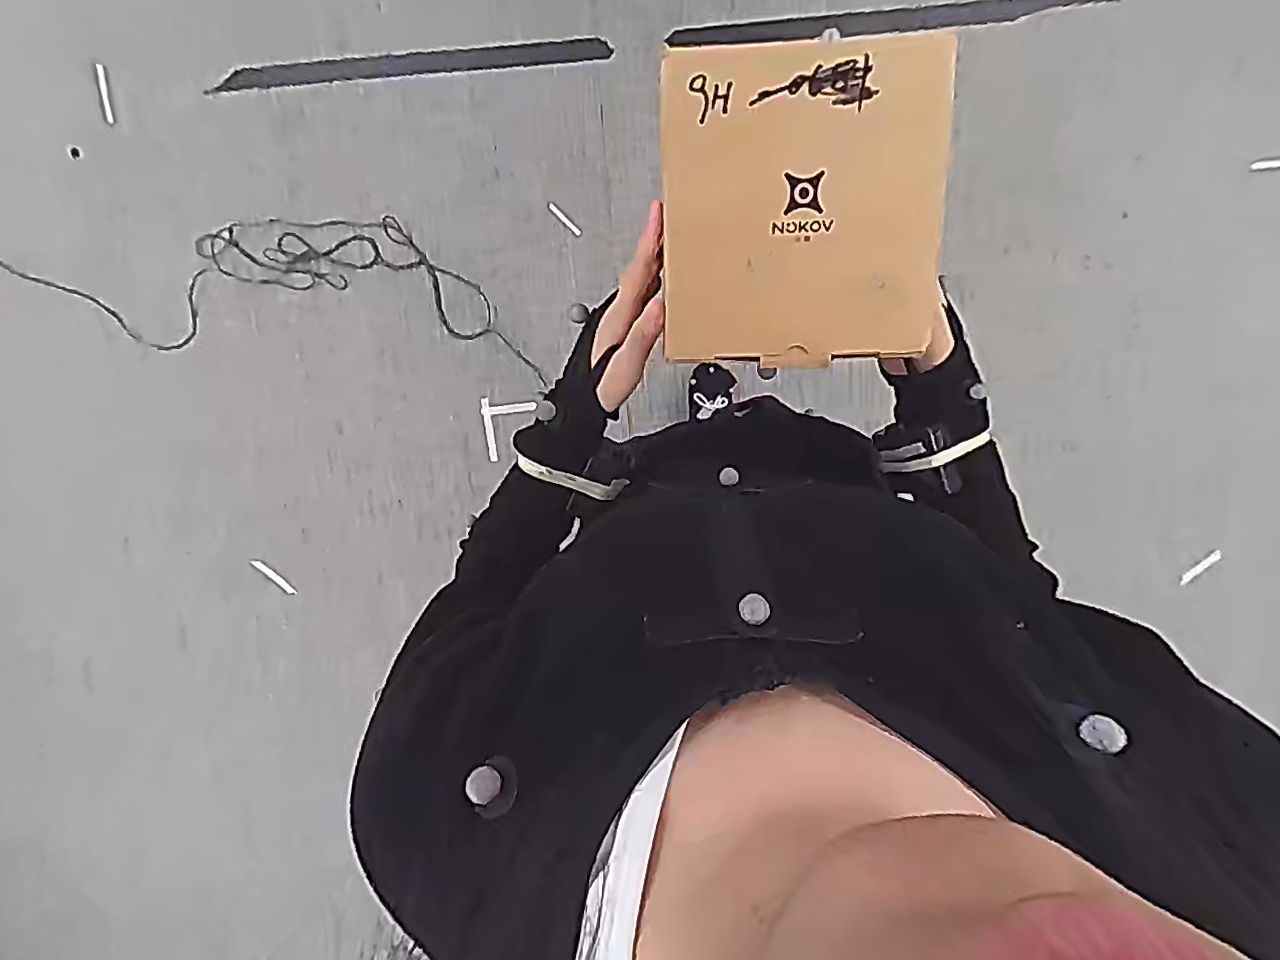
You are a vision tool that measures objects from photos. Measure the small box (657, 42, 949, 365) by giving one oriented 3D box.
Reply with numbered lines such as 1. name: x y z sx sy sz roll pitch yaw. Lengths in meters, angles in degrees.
1. small box: 0.097 -0.182 0.405 0.168 0.176 0.179 -2 104 1

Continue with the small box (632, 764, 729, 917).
1. small box: 0.073 0.684 1.039 0.168 0.176 0.179 2 98 0
